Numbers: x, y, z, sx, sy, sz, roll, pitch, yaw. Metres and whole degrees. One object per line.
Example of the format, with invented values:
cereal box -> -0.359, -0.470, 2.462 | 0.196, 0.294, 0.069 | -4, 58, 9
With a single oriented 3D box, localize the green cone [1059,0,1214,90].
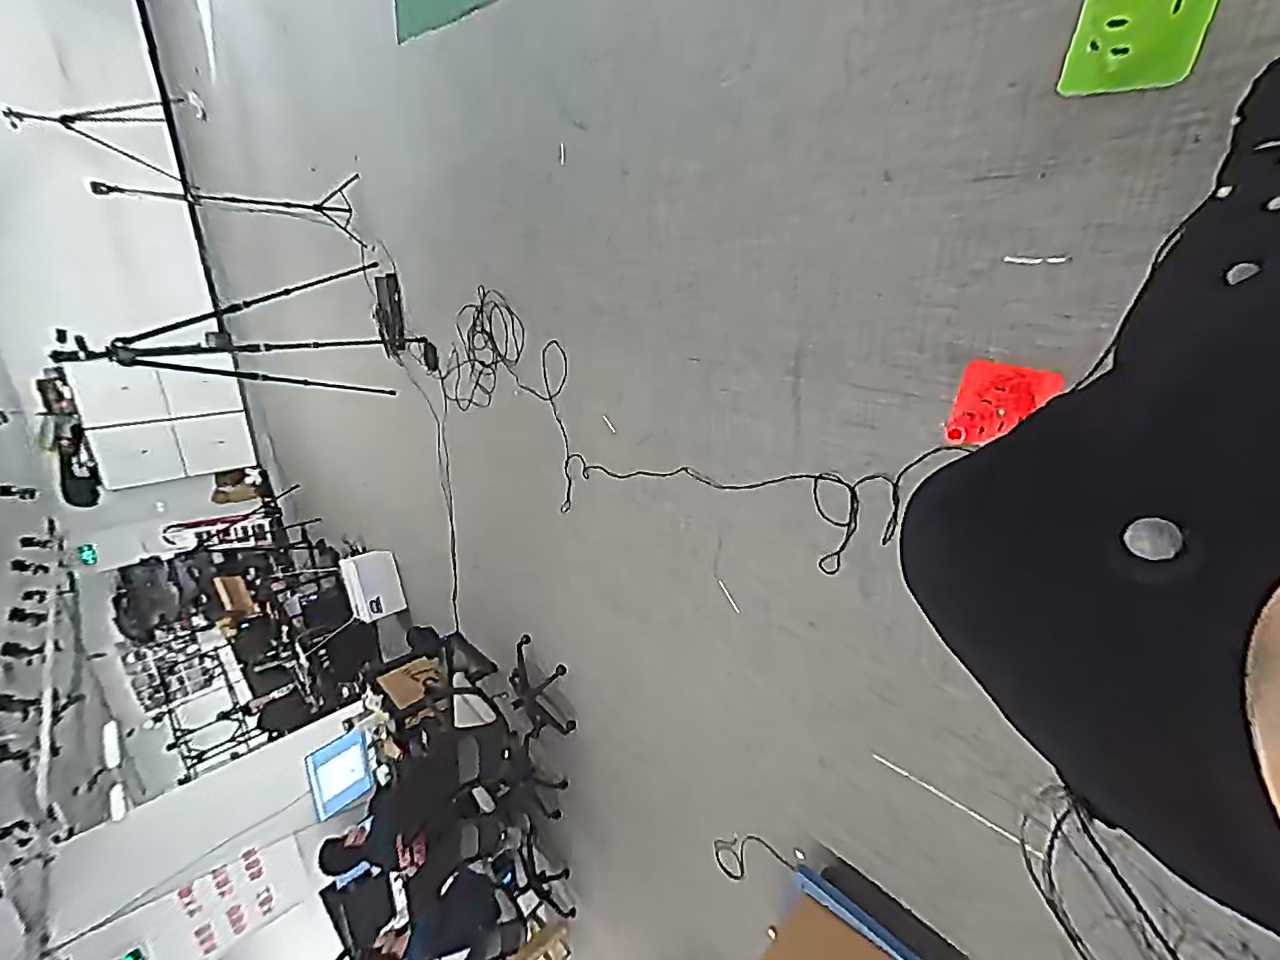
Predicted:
green cone -> 0.794, -0.805, 0.882 | 0.200, 0.368, 0.202 | 24, 121, 40

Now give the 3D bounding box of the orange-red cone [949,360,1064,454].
orange-red cone -> 0.749, -0.137, 1.176 | 0.198, 0.360, 0.199 | 25, 120, 38
